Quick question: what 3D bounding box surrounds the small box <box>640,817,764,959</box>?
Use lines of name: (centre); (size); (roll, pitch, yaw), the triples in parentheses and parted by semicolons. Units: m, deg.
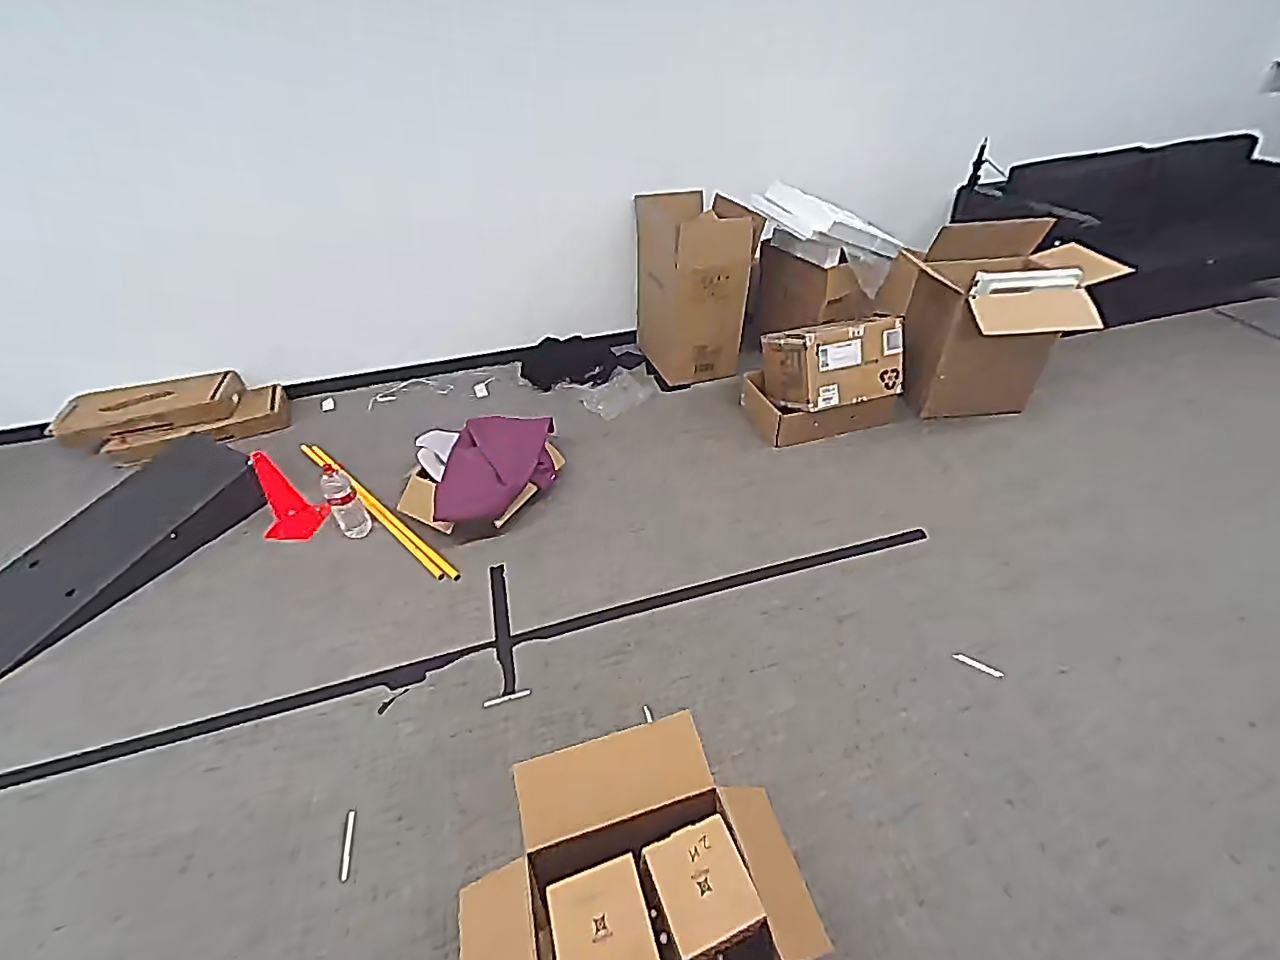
small box: (0.108, 0.782, 1.016); (0.168, 0.176, 0.179); (-13, 42, -19)
